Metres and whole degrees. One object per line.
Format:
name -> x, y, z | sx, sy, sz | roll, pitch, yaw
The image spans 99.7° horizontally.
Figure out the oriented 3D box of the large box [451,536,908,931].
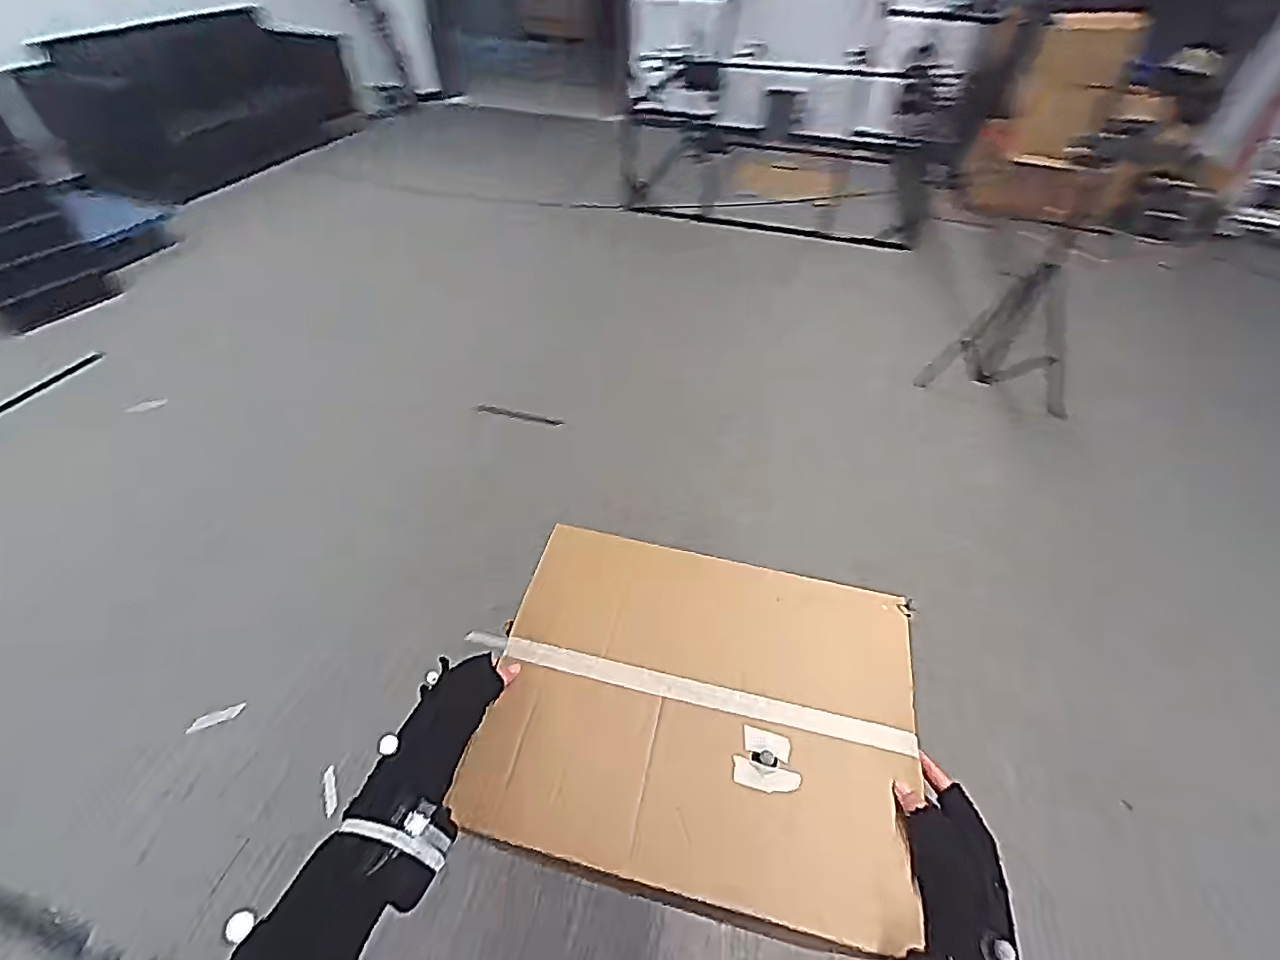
large box -> 0.048, 0.309, 0.664 | 0.408, 0.320, 0.320 | 11, 53, 6
